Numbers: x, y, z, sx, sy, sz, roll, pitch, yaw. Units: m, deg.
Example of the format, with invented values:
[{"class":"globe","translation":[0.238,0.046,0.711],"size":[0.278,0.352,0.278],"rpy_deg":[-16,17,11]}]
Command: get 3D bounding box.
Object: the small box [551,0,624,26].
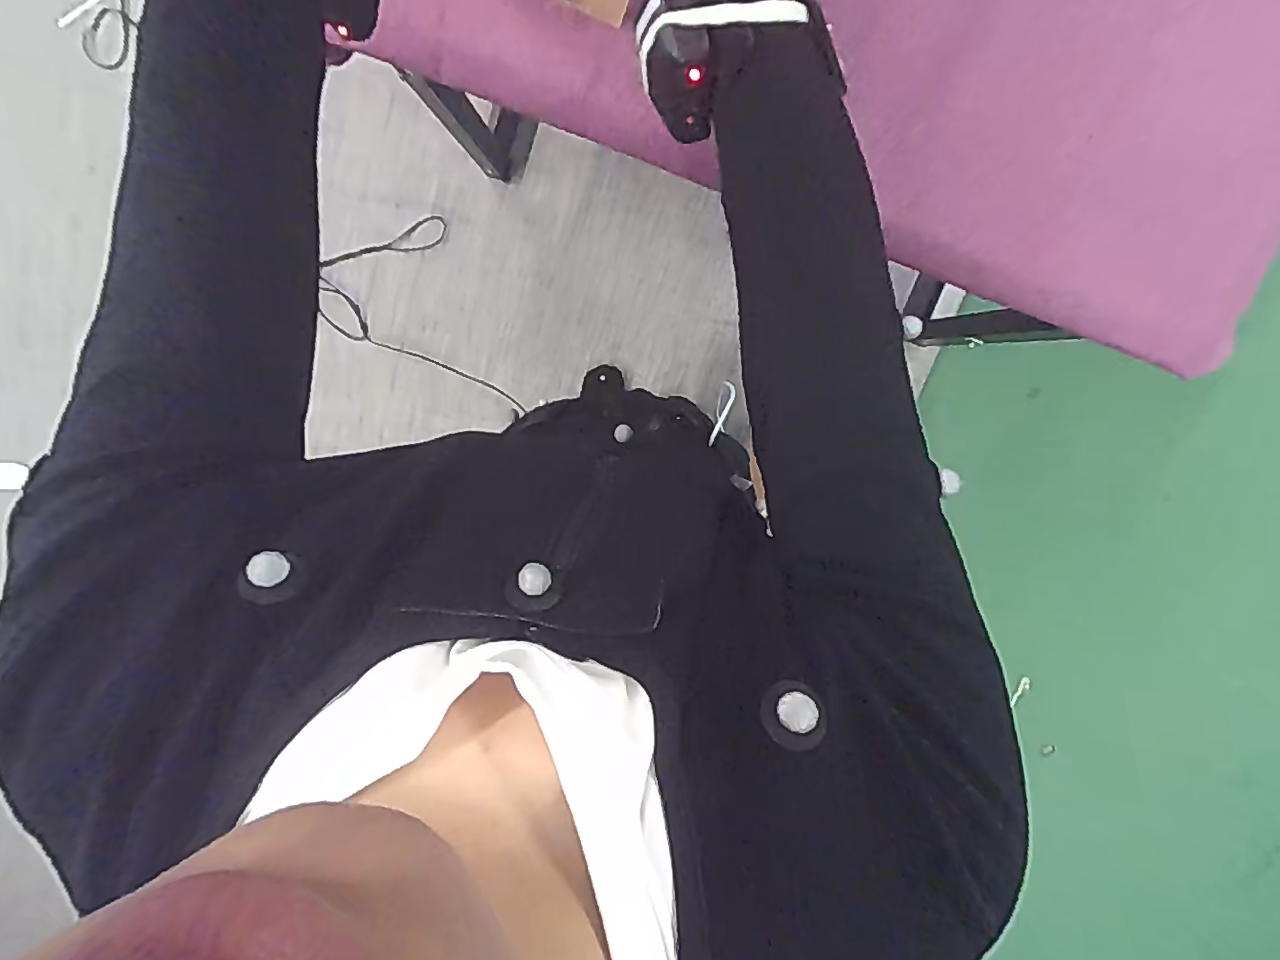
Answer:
[{"class":"small box","translation":[-0.070,-0.613,0.526],"size":[0.168,0.176,0.179],"rpy_deg":[23,102,-6]}]
